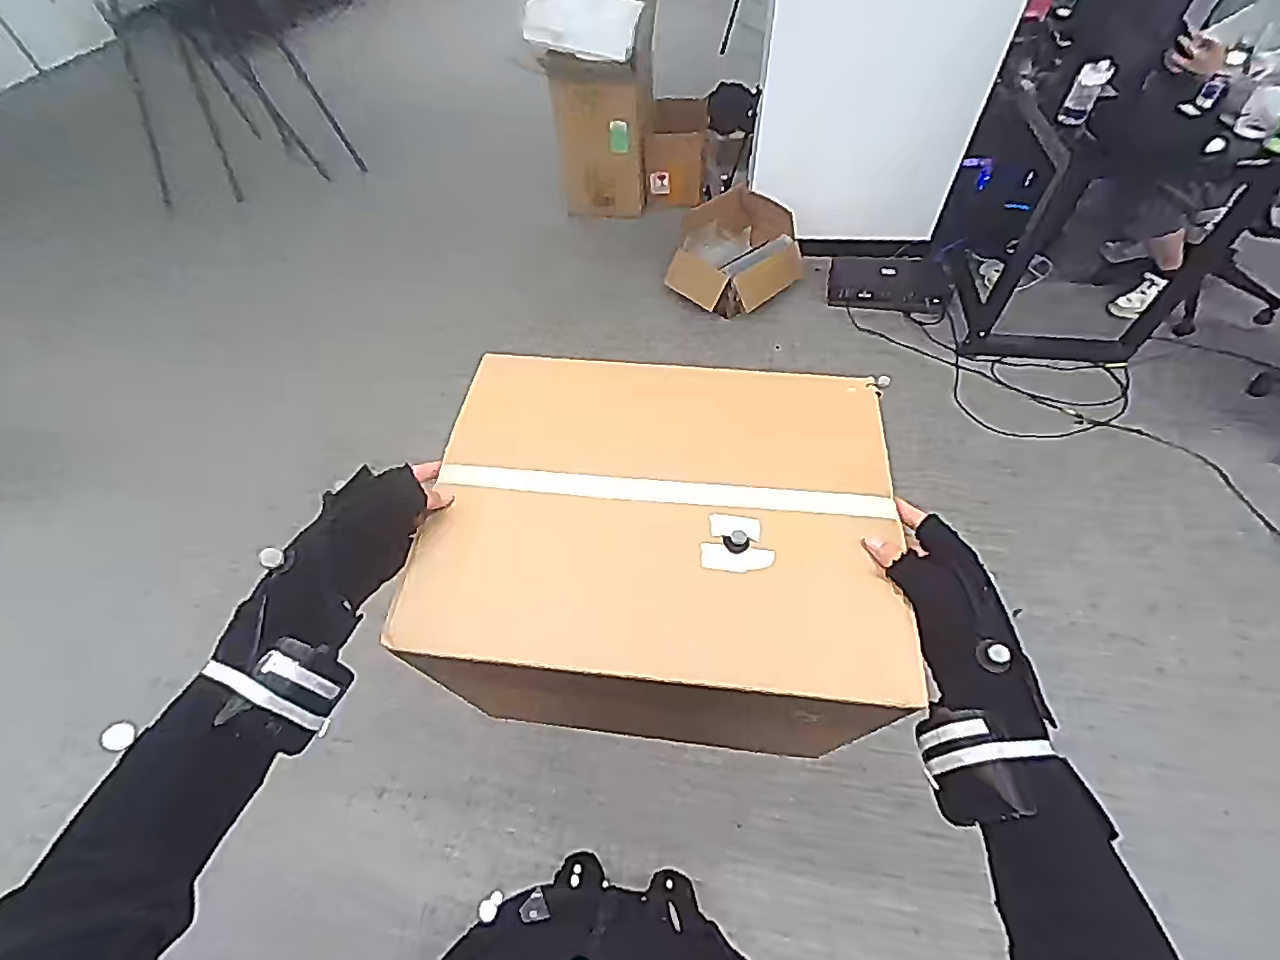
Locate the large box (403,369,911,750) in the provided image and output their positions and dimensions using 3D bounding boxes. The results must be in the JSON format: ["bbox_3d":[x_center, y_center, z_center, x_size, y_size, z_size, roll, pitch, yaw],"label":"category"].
[{"bbox_3d":[0.023,0.101,0.619,0.408,0.320,0.320,5,58,4],"label":"large box"}]
